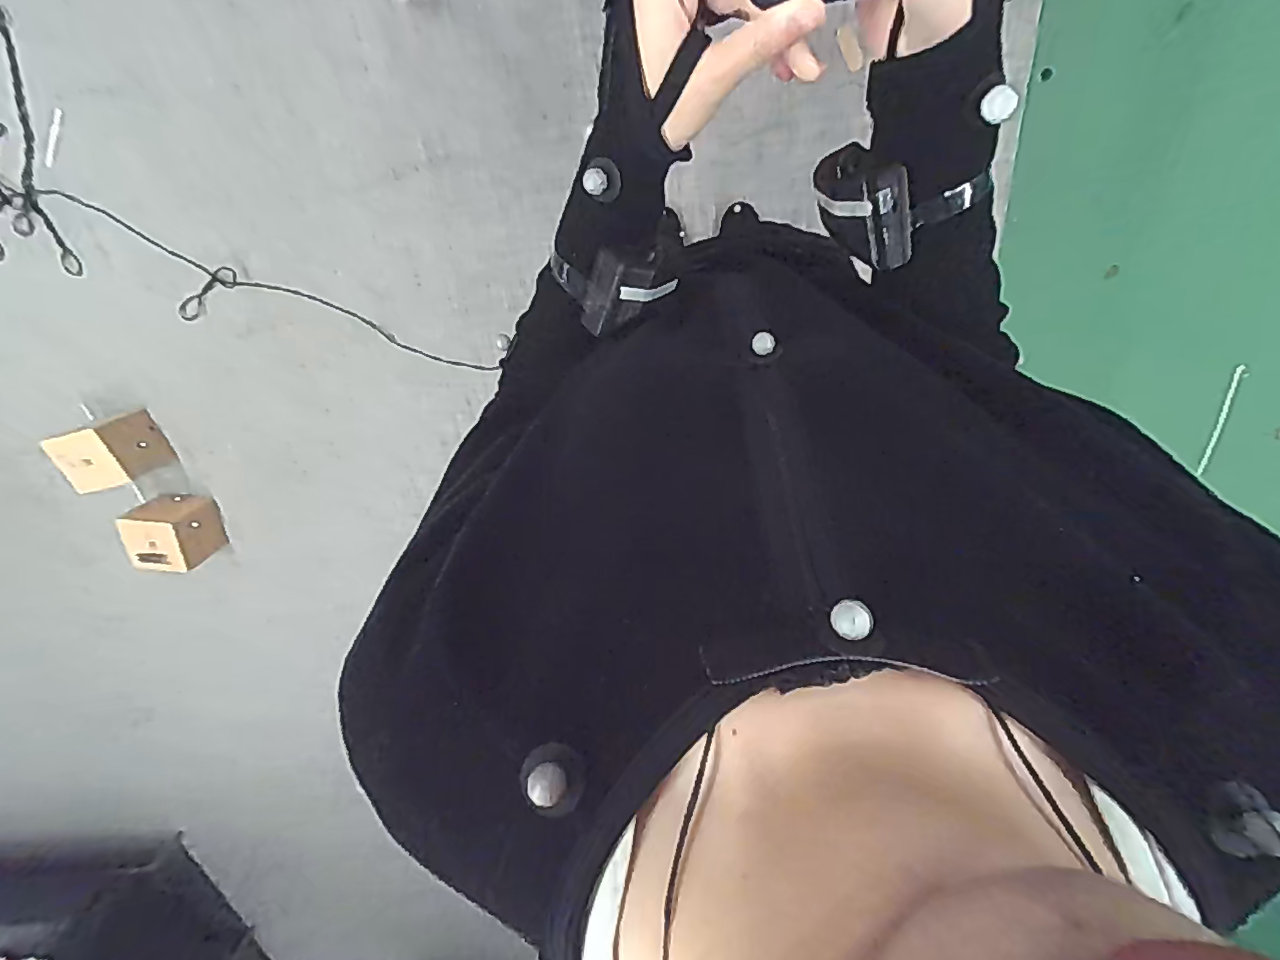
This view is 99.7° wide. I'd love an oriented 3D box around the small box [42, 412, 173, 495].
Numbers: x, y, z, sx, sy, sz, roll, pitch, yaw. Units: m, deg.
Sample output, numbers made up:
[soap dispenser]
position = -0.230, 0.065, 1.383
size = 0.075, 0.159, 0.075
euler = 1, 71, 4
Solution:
[small box]
position = -1.490, -0.081, 1.534
size = 0.179, 0.176, 0.168
euler = -11, 115, 8
